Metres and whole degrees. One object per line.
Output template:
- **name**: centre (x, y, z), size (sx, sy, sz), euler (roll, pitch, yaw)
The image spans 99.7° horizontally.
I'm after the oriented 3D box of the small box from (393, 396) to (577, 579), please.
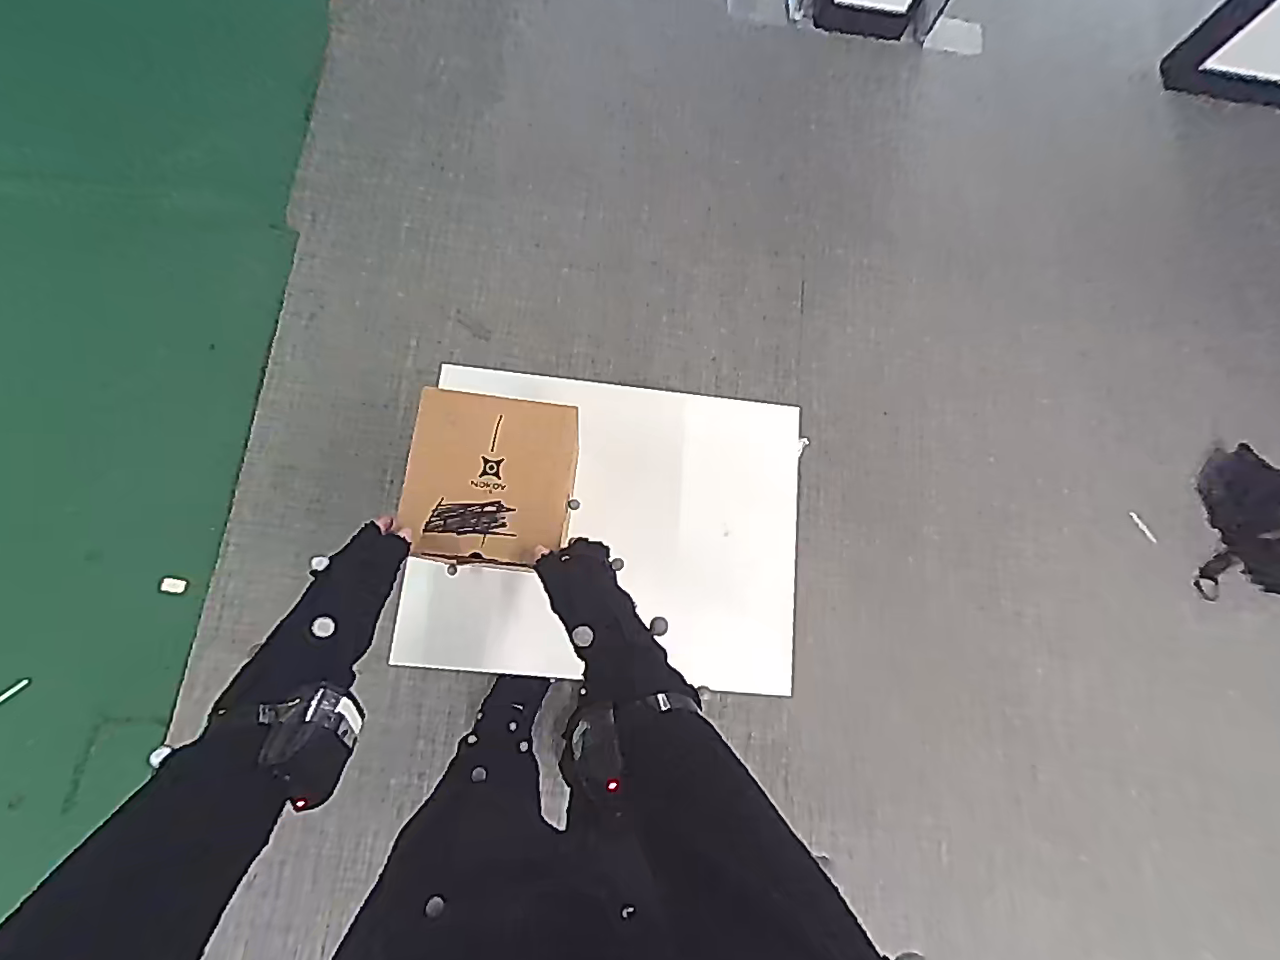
- **small box**: centre (-0.166, 0.021, 0.640), size (0.168, 0.176, 0.179), euler (7, 76, -5)
